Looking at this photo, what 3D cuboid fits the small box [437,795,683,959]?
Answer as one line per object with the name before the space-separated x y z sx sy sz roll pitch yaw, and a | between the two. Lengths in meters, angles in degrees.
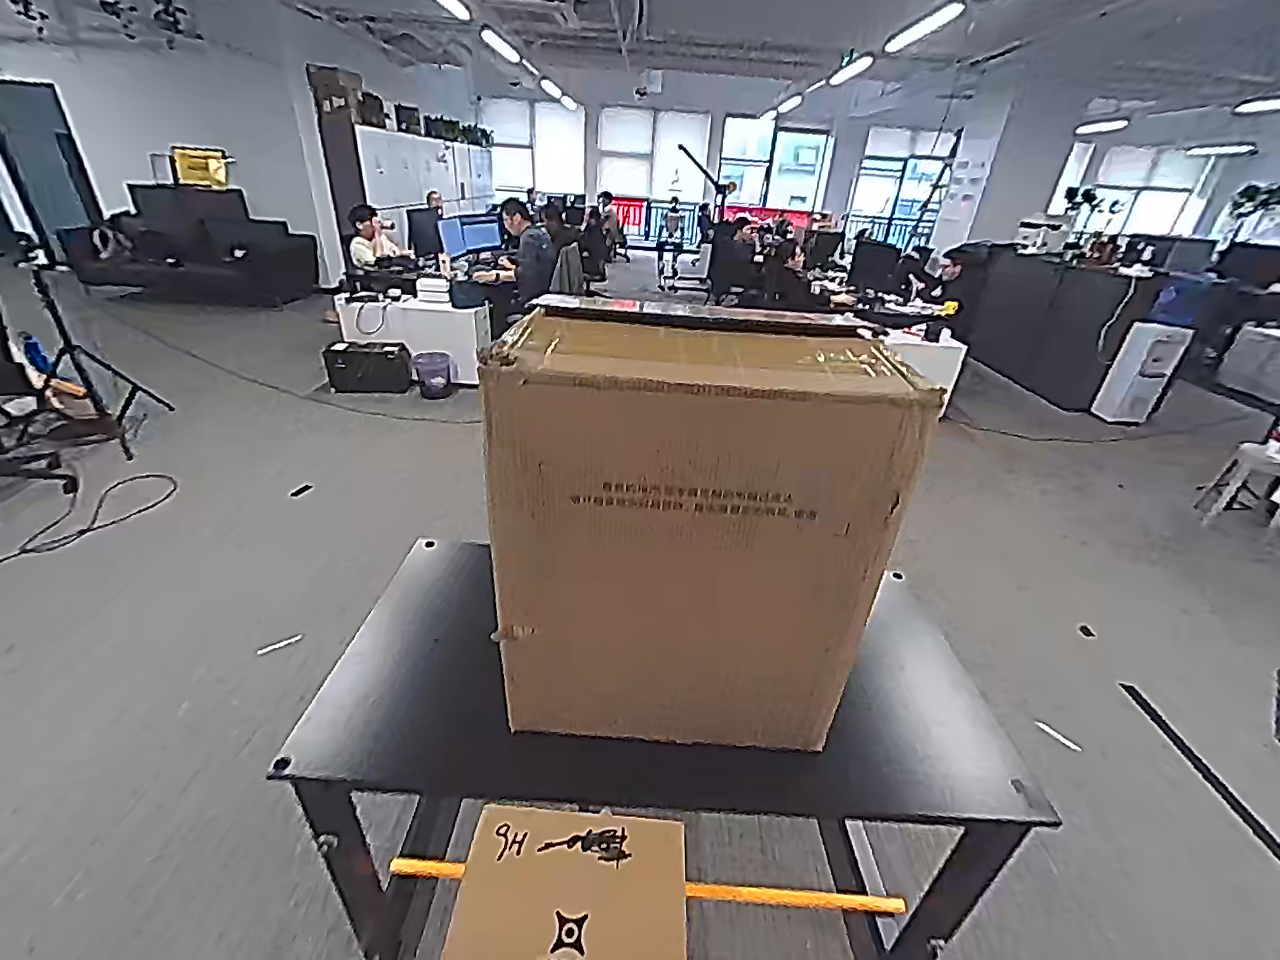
small box | -0.056 0.378 0.415 0.168 0.176 0.179 5 35 0
